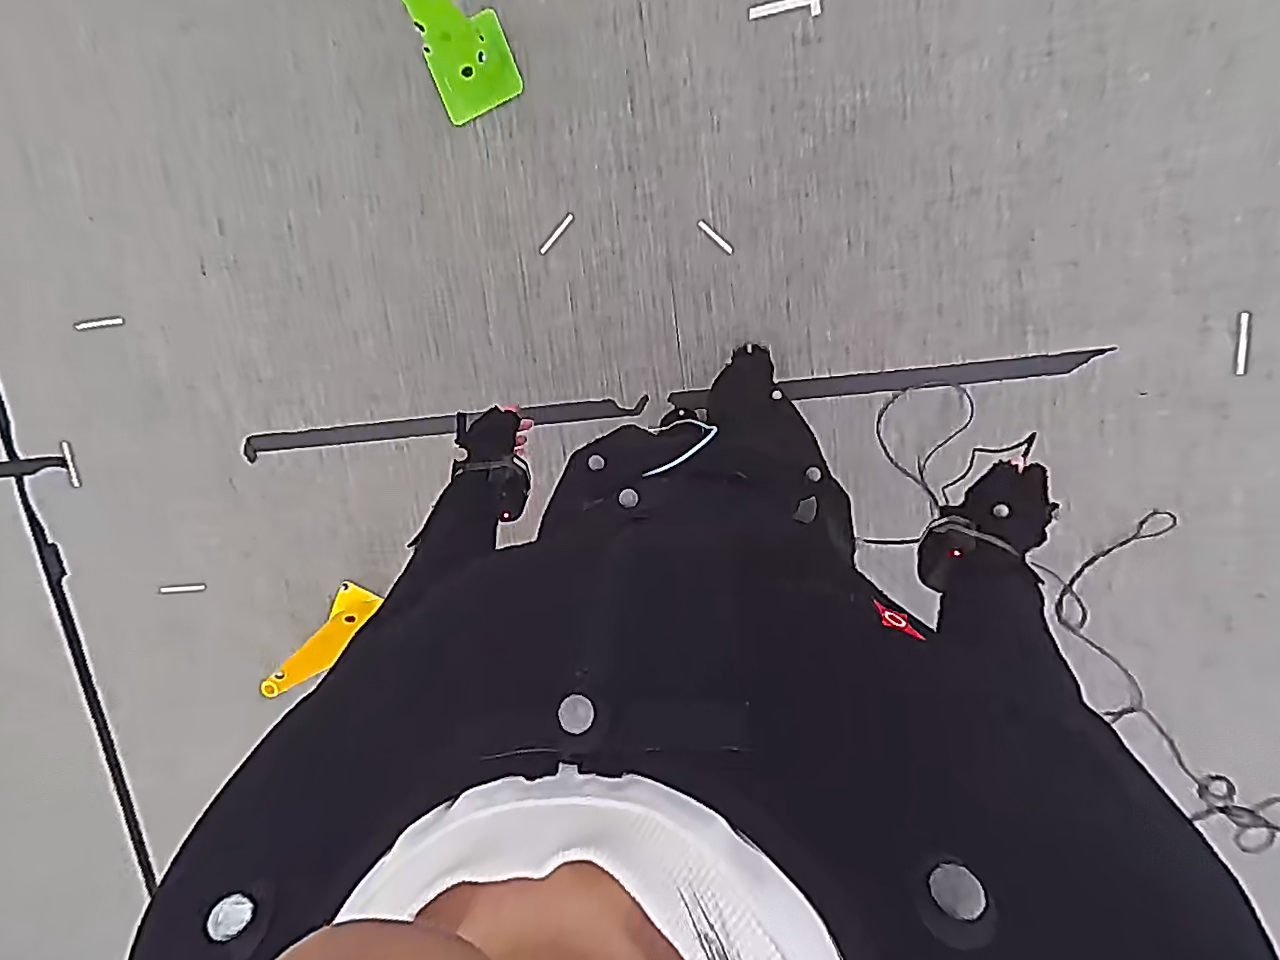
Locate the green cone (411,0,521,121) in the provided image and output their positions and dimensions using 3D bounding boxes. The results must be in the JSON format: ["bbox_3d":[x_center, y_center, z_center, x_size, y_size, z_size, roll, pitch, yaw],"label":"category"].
[{"bbox_3d":[-0.422,-0.969,1.134,0.202,0.368,0.200,-21,97,9],"label":"green cone"}]
